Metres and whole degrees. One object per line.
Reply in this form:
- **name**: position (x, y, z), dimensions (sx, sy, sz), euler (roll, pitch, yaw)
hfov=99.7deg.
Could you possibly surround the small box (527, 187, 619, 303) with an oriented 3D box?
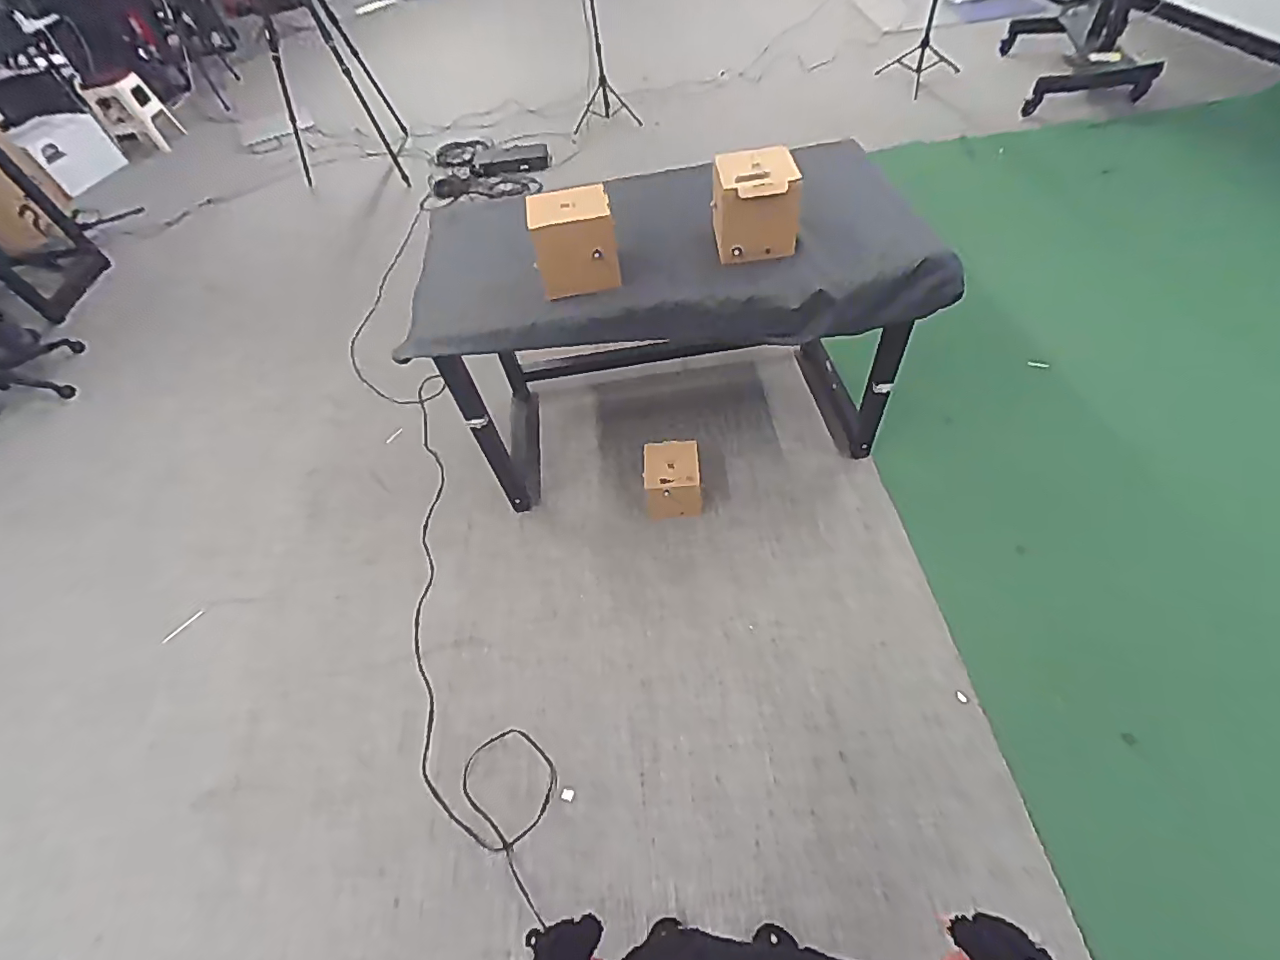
- **small box**: position (-0.146, -0.527, 1.220), dimensions (0.179, 0.176, 0.168), euler (-12, 50, 0)

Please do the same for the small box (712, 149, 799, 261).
- **small box**: position (0.256, -0.617, 1.229), dimensions (0.168, 0.176, 0.179), euler (-5, 52, 4)
